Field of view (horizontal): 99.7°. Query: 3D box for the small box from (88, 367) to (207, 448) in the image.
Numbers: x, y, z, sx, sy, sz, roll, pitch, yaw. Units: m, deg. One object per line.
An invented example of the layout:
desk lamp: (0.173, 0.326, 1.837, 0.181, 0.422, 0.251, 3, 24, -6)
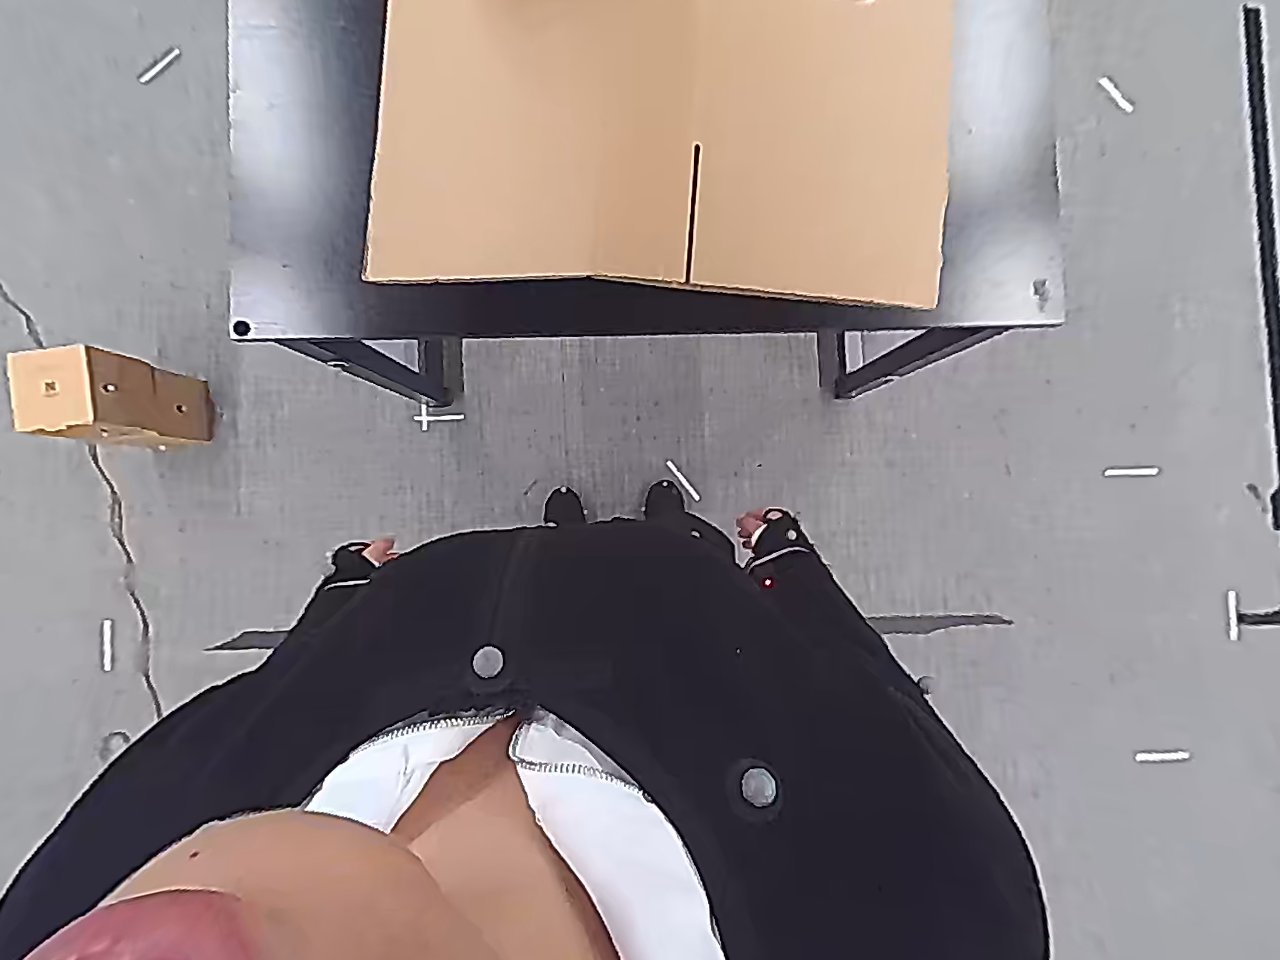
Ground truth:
small box: (-1.269, -0.183, 1.399, 0.168, 0.176, 0.179, -5, 89, -1)

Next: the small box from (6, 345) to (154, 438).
small box: (-1.267, -0.193, 1.236, 0.168, 0.176, 0.179, -8, 88, -2)
